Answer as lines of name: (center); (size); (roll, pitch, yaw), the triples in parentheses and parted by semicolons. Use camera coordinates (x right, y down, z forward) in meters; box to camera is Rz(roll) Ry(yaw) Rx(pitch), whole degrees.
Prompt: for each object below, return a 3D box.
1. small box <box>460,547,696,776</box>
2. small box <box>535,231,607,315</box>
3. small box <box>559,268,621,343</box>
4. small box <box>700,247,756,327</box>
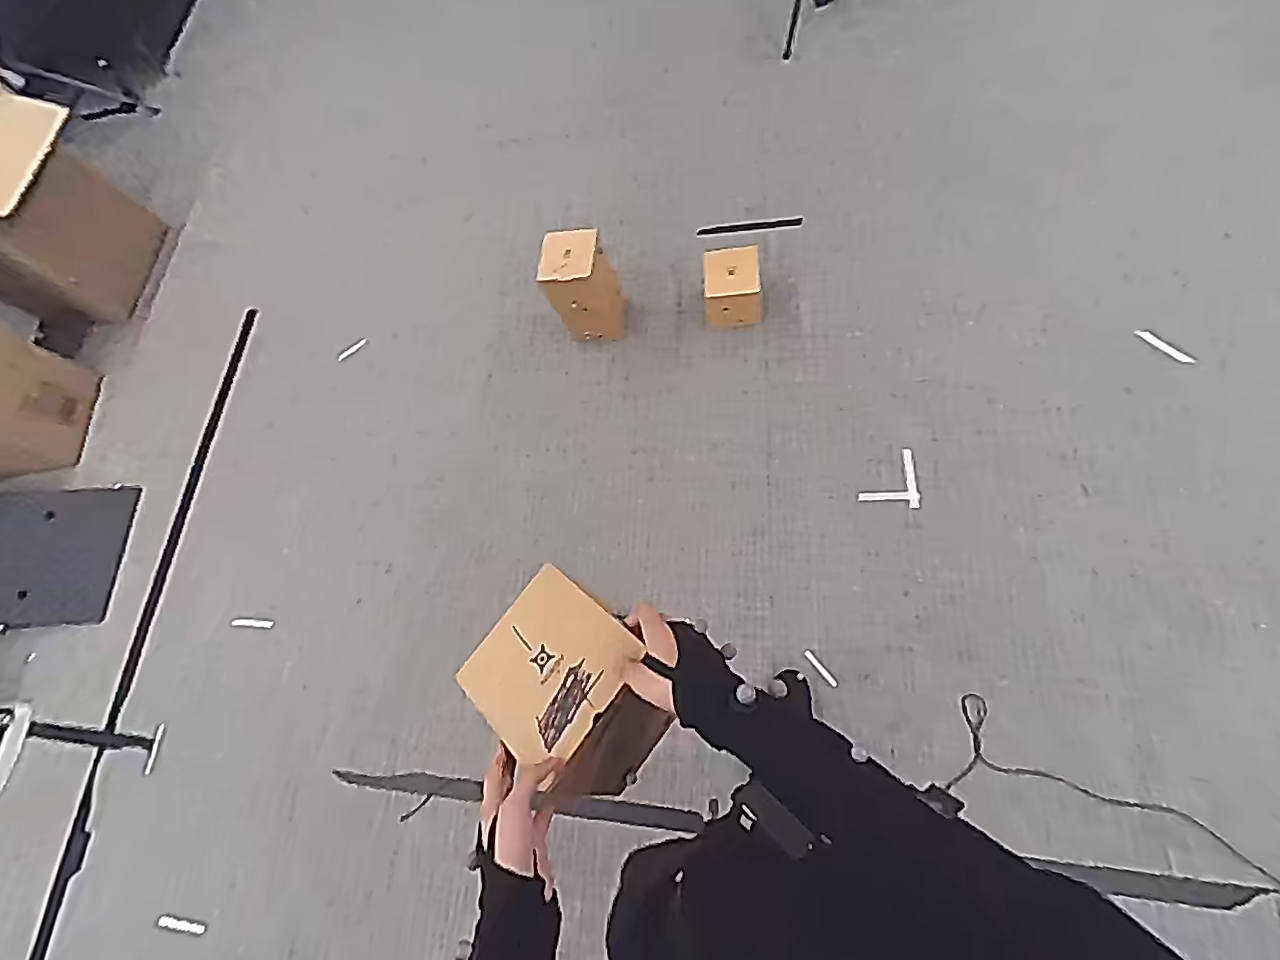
small box: (-0.063, 0.212, 0.627); (0.179, 0.176, 0.168); (32, 78, 37)
small box: (-0.204, -0.632, 1.663); (0.168, 0.176, 0.179); (1, 72, 13)
small box: (-0.165, -0.582, 1.814); (0.168, 0.176, 0.179); (2, 71, 13)
small box: (0.284, -0.609, 1.734); (0.168, 0.176, 0.179); (-3, 70, 10)
